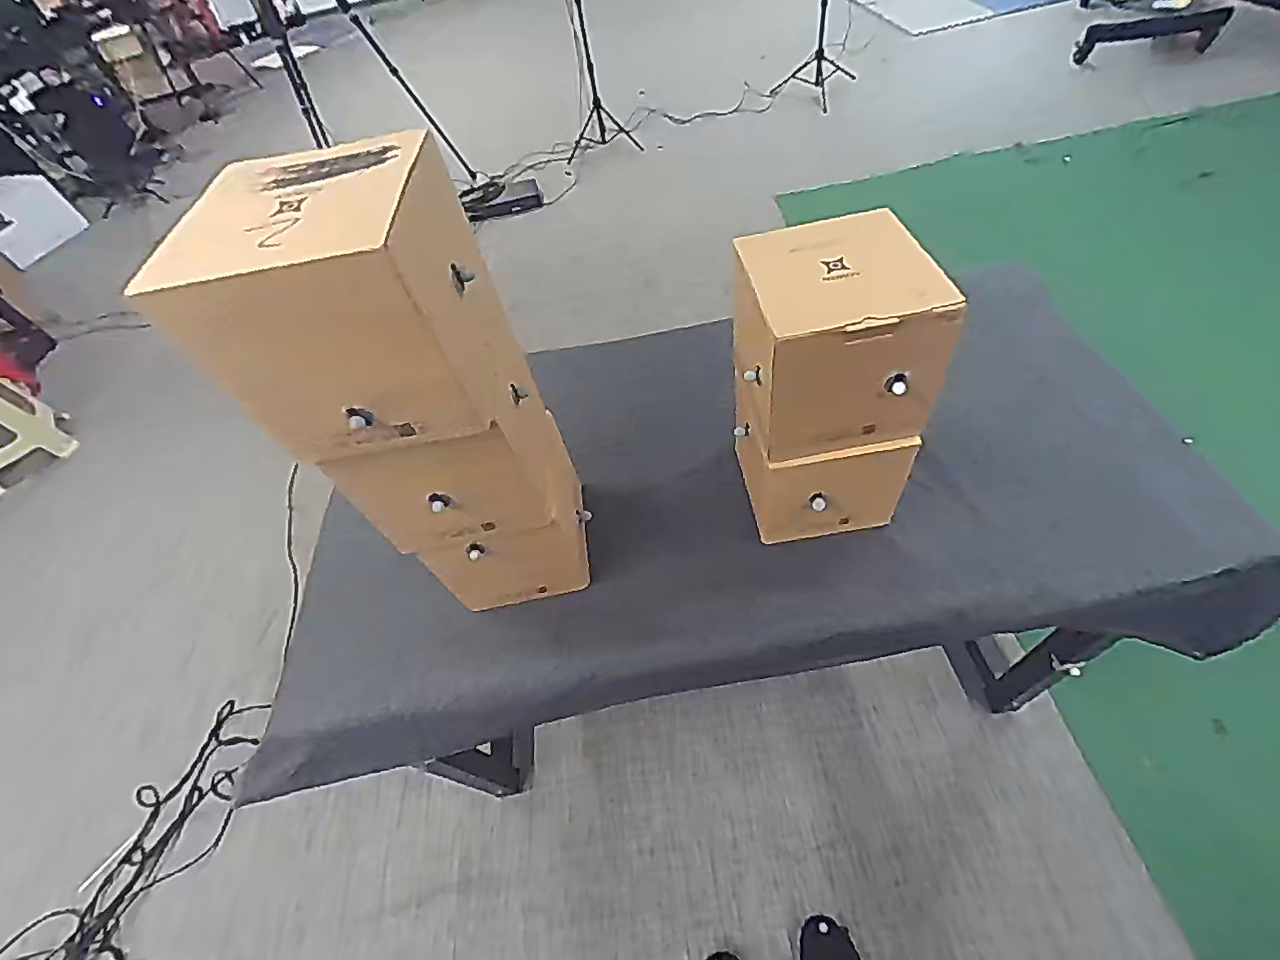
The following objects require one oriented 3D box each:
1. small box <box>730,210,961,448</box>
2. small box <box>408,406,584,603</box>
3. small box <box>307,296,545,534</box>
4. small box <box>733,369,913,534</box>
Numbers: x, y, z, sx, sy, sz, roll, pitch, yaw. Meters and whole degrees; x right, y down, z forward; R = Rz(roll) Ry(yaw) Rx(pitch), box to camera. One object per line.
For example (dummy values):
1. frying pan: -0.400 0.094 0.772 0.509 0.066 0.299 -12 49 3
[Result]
1. small box: 0.194 -0.149 0.570 0.168 0.176 0.179 -10 51 2
2. small box: -0.172 0.034 0.699 0.168 0.176 0.179 -11 52 1
3. small box: -0.200 -0.058 0.564 0.168 0.176 0.179 -10 52 1
4. small box: 0.218 -0.045 0.692 0.168 0.176 0.179 -10 52 3
